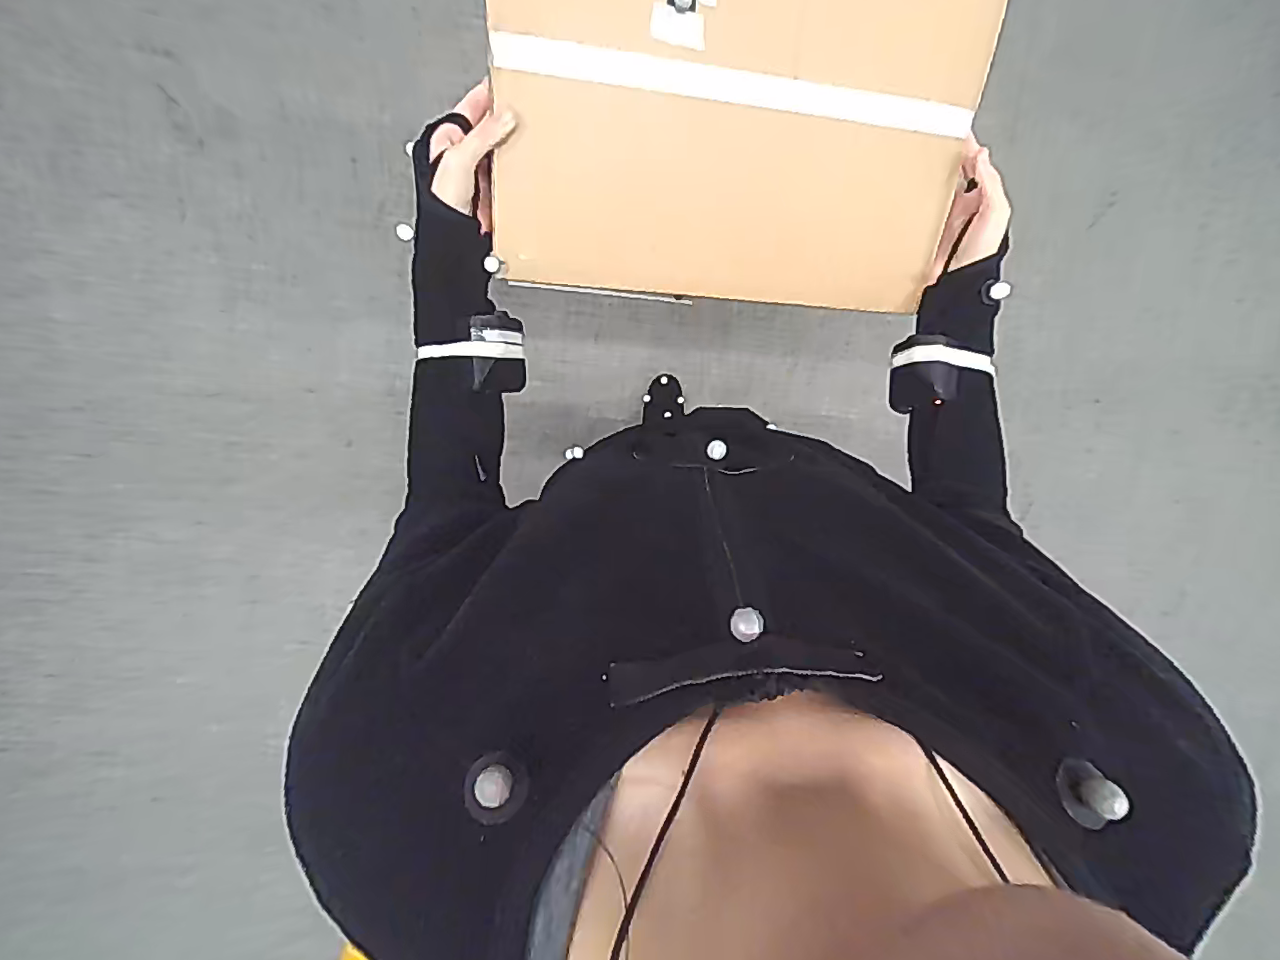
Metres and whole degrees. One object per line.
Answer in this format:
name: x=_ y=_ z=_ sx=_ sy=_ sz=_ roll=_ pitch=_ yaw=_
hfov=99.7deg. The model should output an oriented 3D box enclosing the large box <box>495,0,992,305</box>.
large box: x=0.065 y=-0.378 z=0.580 sx=0.408 sy=0.320 sz=0.320 roll=1 pitch=113 yaw=-10
